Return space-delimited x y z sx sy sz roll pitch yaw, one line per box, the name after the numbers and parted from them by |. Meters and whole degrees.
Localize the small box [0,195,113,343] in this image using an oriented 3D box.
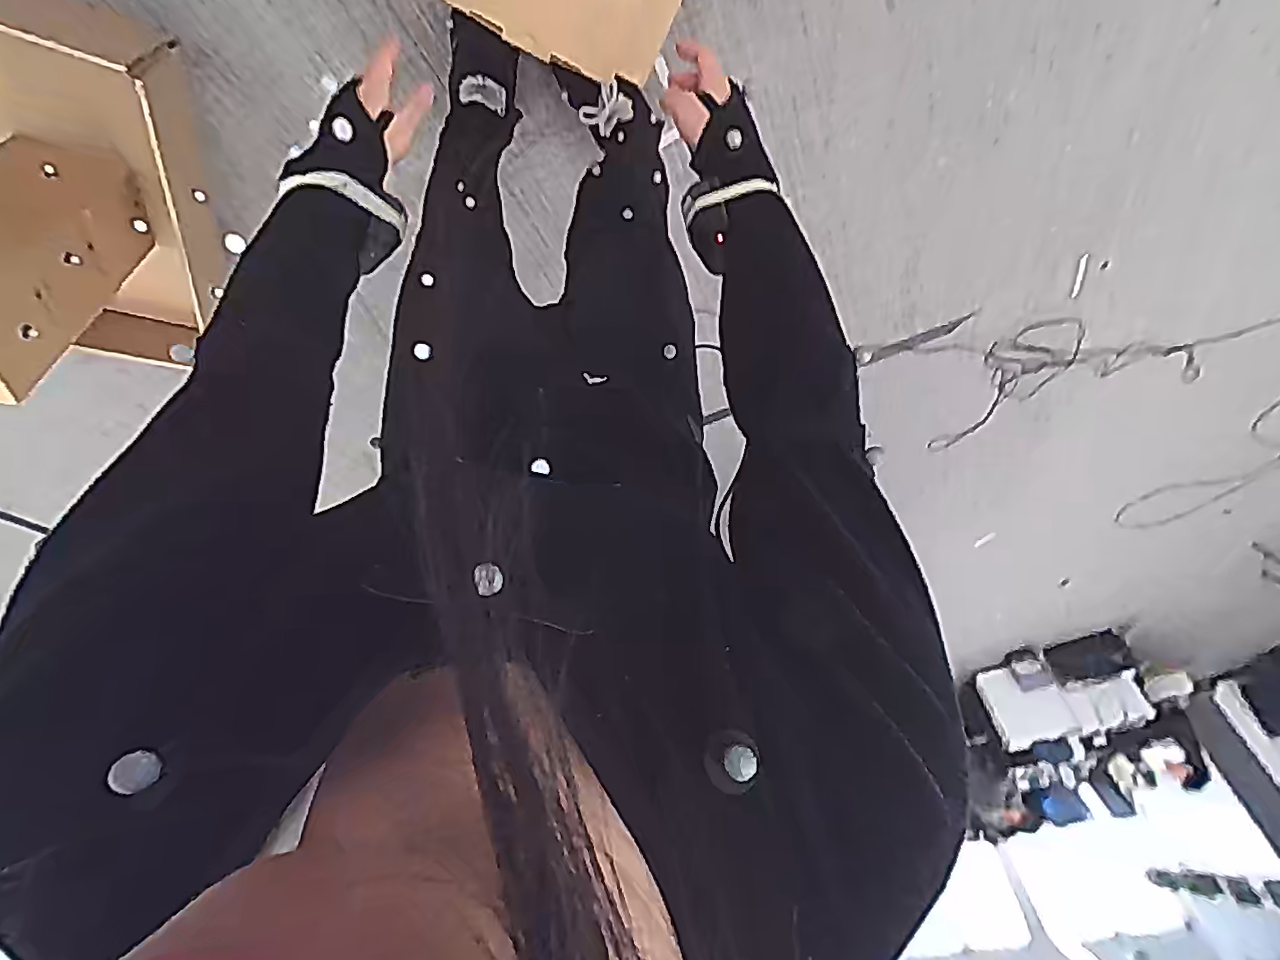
-1.048 -0.360 0.911 0.179 0.176 0.168 7 138 -17 | small box

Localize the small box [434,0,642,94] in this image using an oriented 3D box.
-0.076 -0.504 0.485 0.168 0.176 0.179 11 138 -25 | small box

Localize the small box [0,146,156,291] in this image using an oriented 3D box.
-1.062 -0.489 1.007 0.179 0.176 0.168 8 139 -21 | small box

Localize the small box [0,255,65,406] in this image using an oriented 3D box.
-1.024 -0.235 0.804 0.179 0.176 0.168 5 138 -18 | small box
